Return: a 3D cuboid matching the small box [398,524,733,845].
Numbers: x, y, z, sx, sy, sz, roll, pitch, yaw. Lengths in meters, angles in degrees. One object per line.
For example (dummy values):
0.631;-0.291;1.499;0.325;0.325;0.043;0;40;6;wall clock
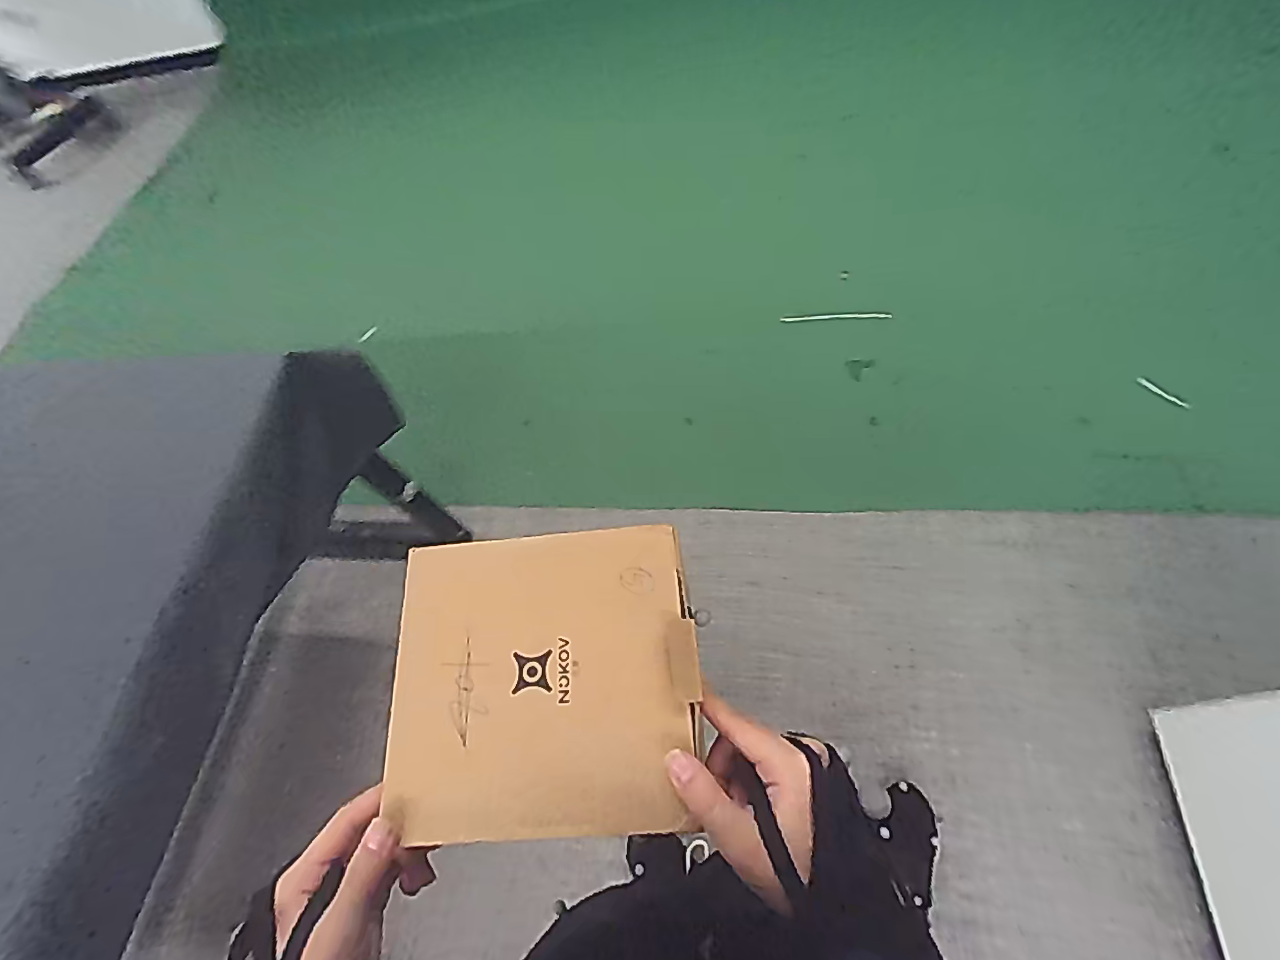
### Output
-0.035;0.142;0.378;0.179;0.176;0.168;-6;64;5;small box
